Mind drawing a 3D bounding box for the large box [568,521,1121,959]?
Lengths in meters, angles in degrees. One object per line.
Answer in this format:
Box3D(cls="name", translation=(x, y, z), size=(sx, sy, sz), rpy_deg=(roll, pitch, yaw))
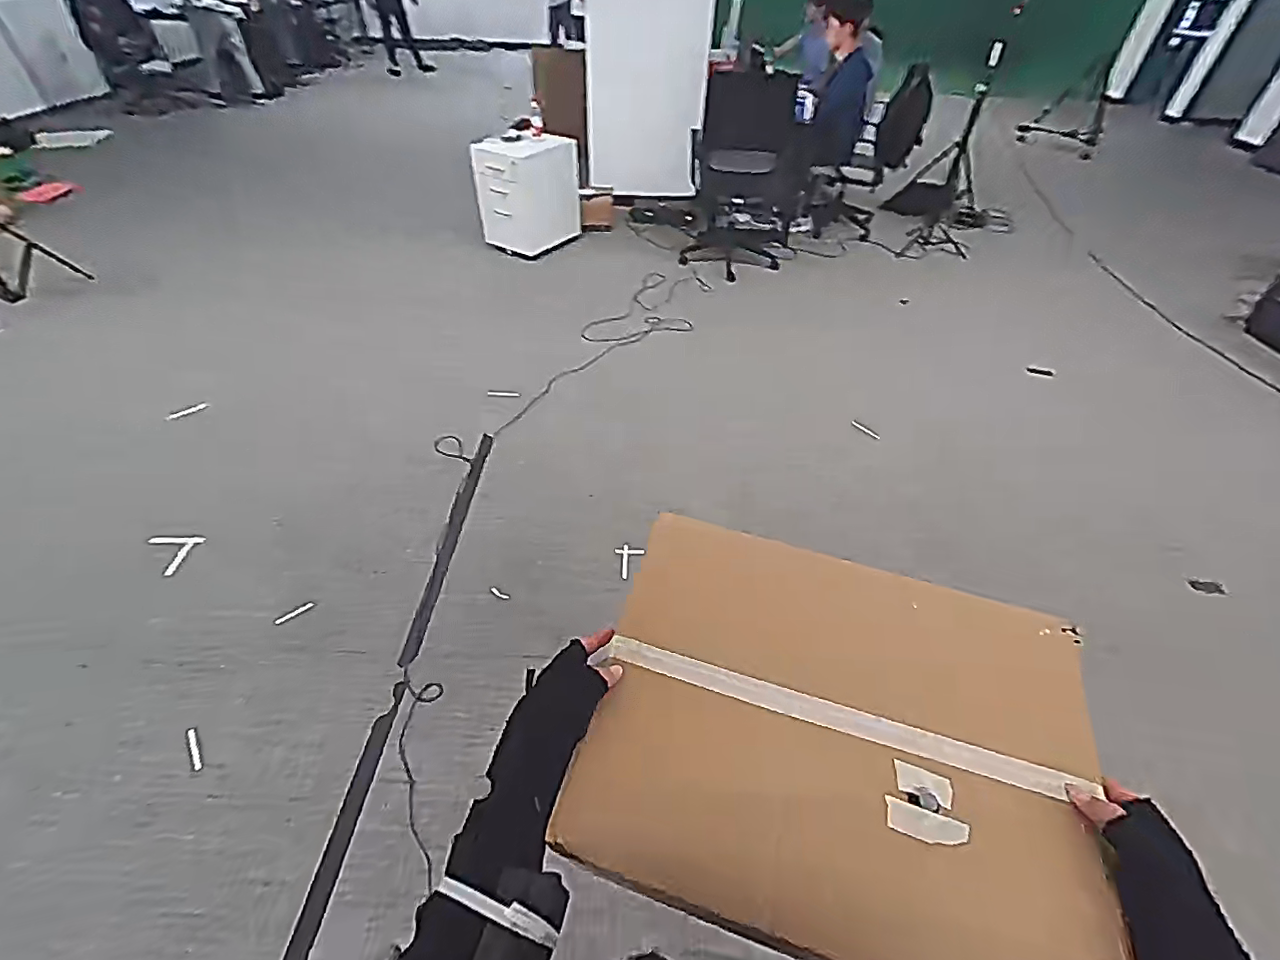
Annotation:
Box3D(cls="large box", translation=(0.171, 0.295, 0.586), size=(0.408, 0.320, 0.320), rpy_deg=(15, 54, 10))
